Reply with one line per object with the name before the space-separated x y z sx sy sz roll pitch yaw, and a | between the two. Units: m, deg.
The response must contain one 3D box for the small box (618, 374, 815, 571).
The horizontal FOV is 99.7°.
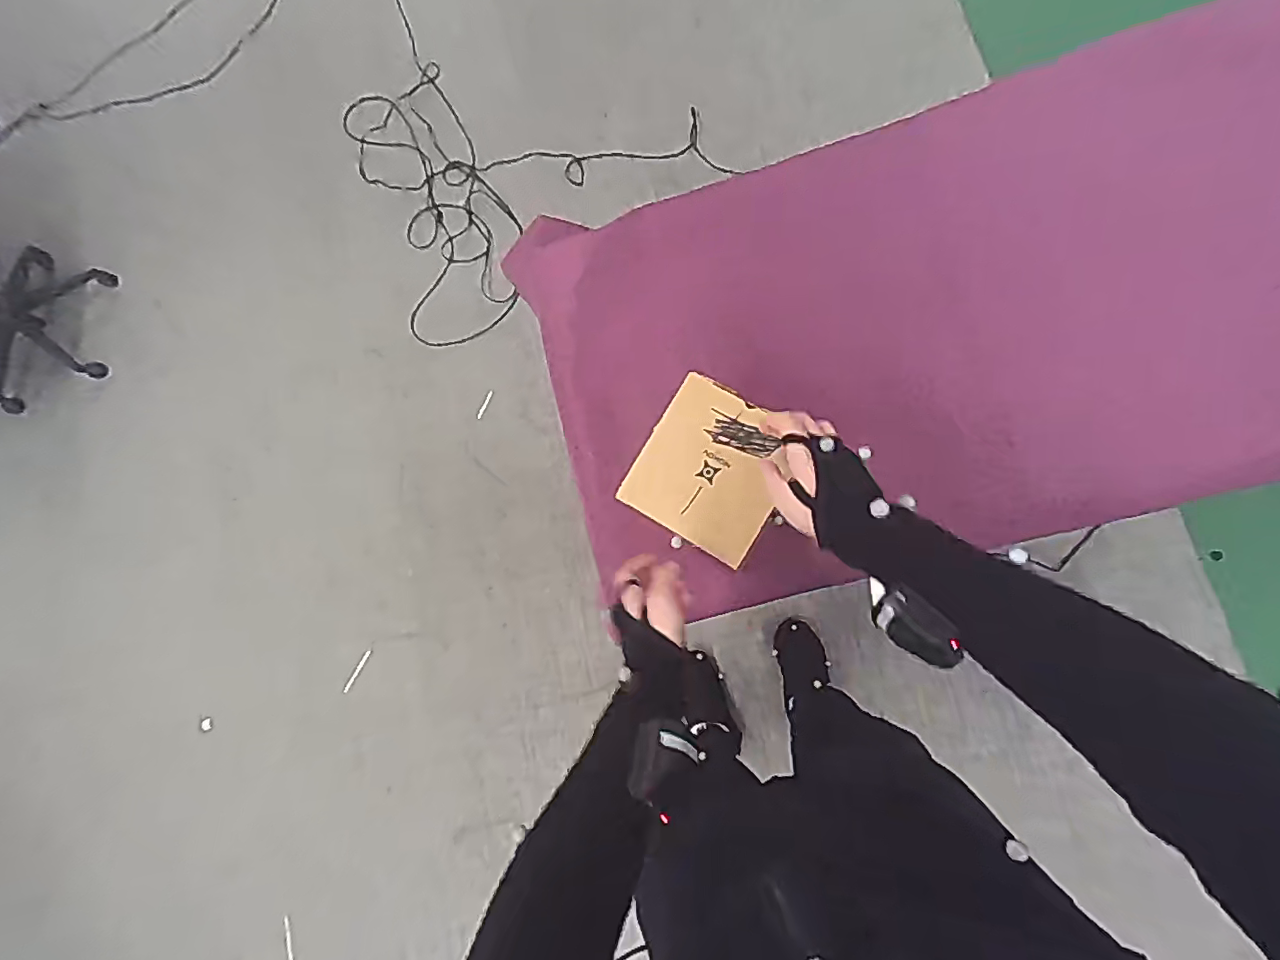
small box | 0.099 0.000 0.693 0.168 0.176 0.179 31 88 15
